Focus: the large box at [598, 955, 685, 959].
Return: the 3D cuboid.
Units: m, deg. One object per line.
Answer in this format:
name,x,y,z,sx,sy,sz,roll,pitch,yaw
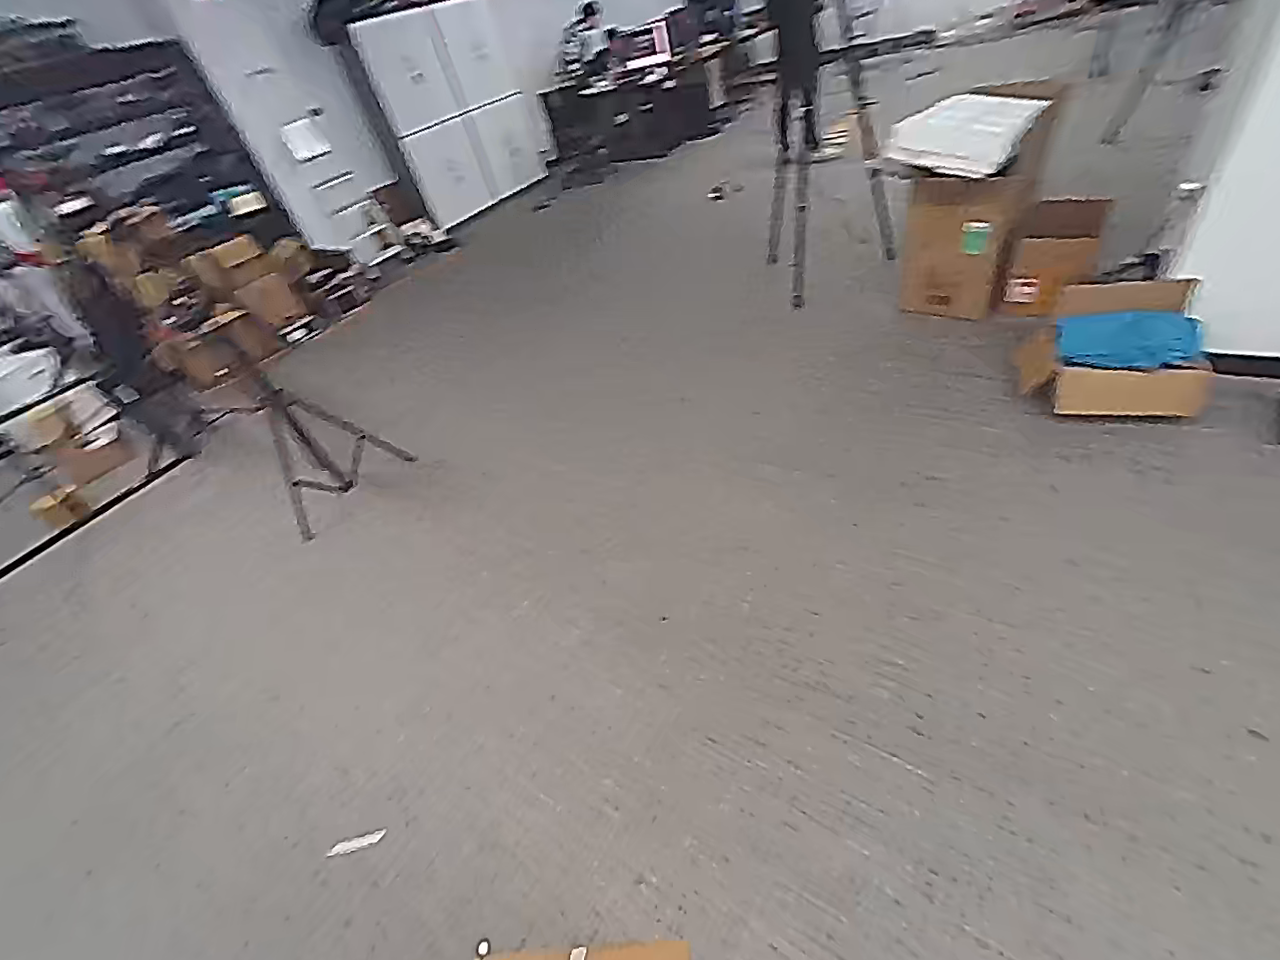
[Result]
large box,-0.072,0.834,0.568,0.320,0.320,0.408,-6,-2,1
